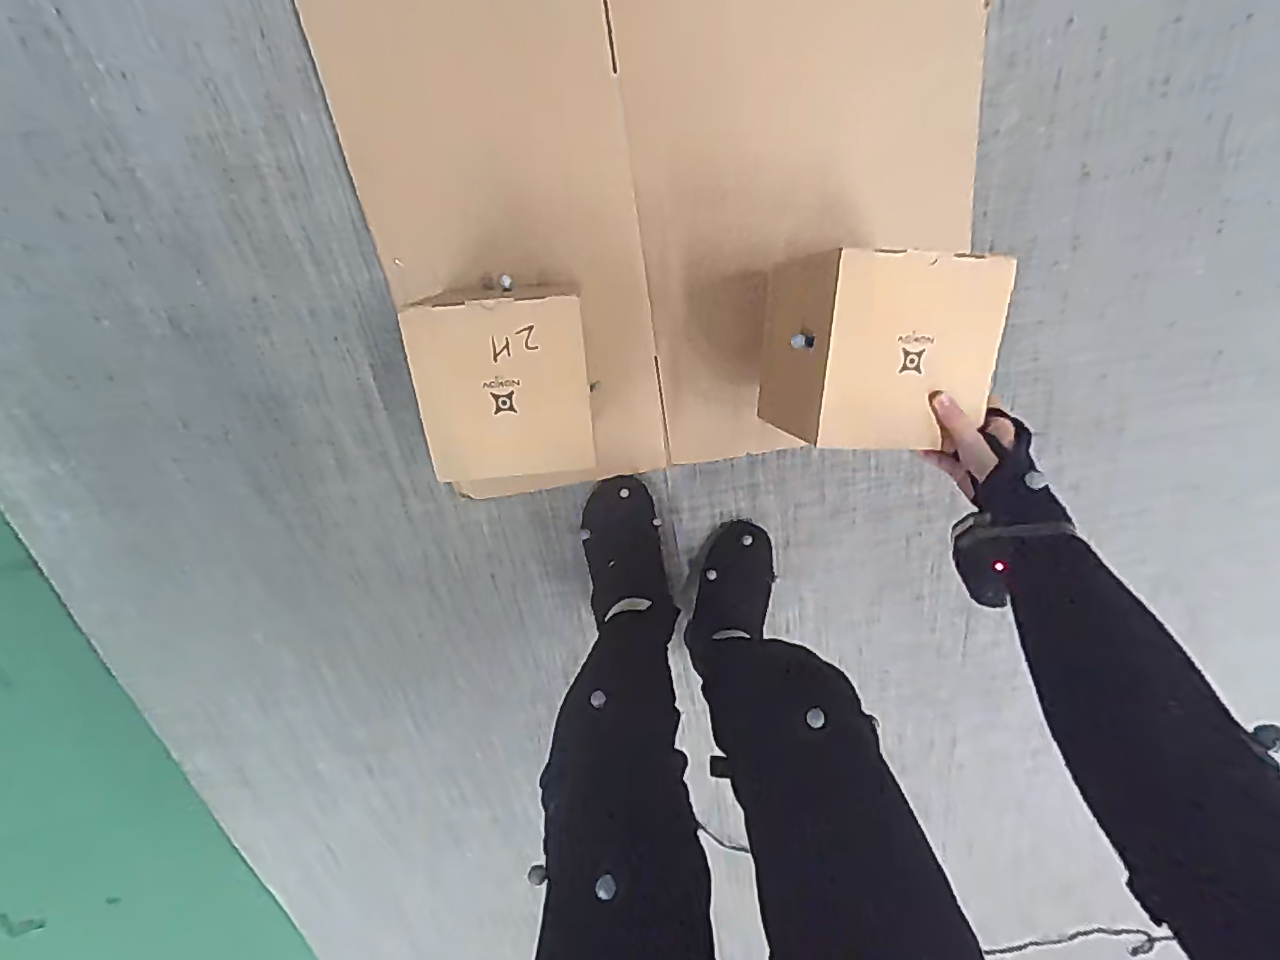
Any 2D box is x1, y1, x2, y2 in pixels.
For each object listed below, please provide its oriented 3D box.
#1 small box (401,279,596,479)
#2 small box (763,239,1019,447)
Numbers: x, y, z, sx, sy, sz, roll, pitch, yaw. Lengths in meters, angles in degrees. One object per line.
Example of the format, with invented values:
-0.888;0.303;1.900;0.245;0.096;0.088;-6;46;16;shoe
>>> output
-0.135;-0.118;0.590;0.168;0.176;0.179;-5;114;-4;small box
0.236;-0.138;0.558;0.168;0.176;0.179;0;105;-7;small box
